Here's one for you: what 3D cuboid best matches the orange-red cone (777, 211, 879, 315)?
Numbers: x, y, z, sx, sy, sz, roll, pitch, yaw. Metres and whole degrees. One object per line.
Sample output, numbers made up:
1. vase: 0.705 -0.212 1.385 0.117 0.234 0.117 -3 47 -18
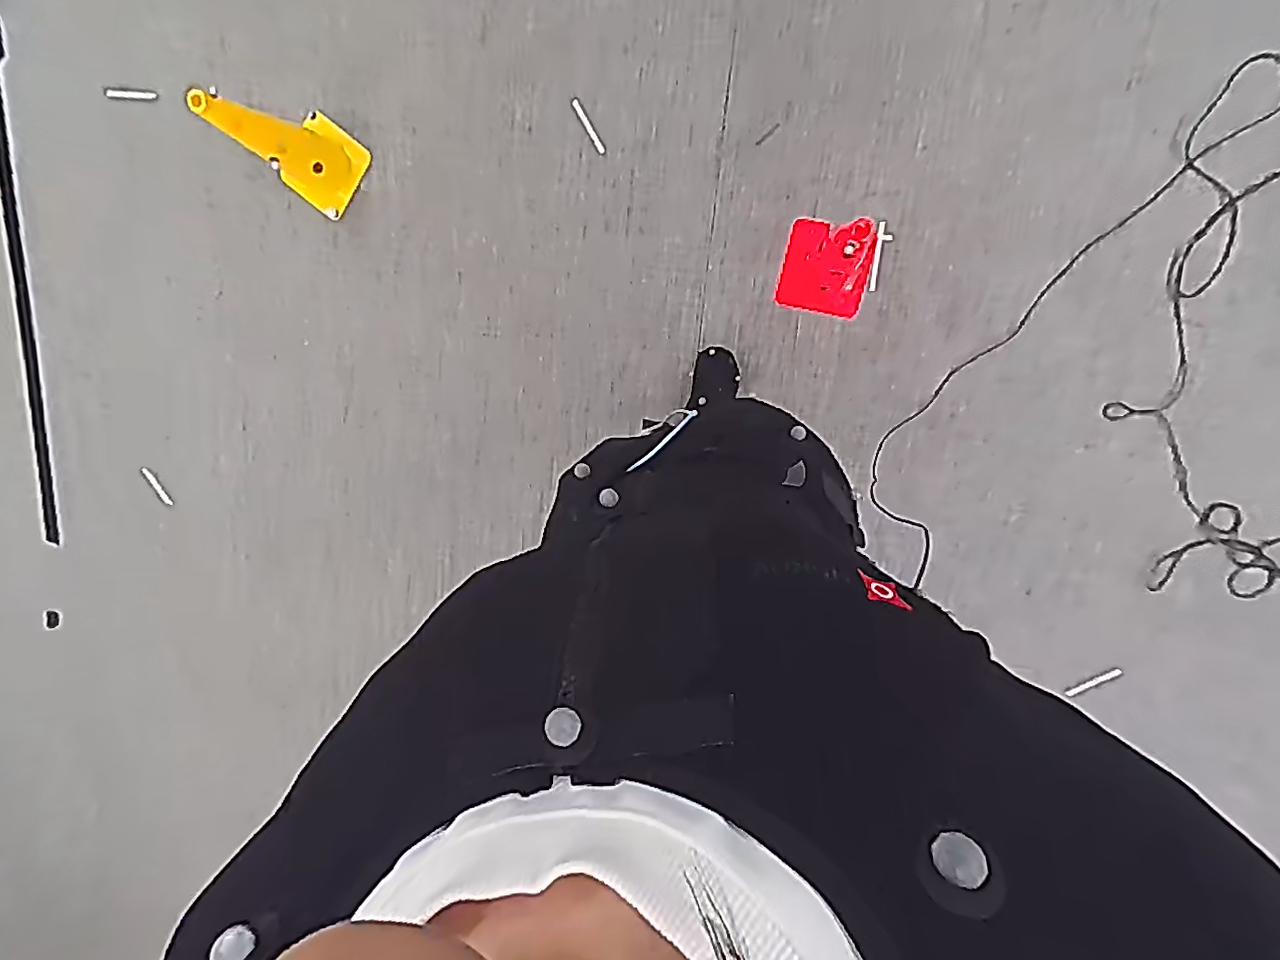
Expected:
1. orange-red cone: 0.410 -0.472 1.100 0.199 0.360 0.198 15 102 7
